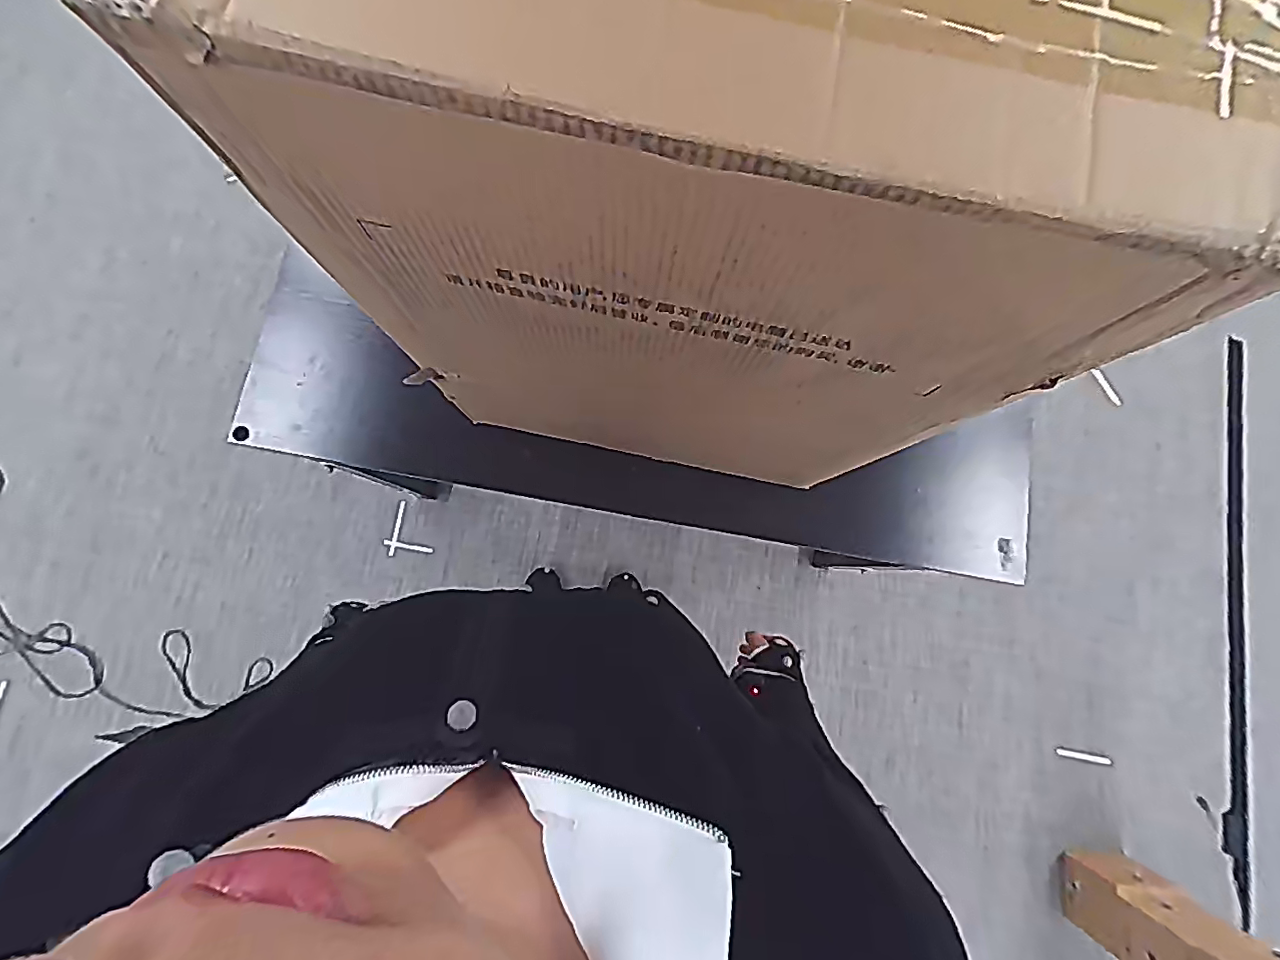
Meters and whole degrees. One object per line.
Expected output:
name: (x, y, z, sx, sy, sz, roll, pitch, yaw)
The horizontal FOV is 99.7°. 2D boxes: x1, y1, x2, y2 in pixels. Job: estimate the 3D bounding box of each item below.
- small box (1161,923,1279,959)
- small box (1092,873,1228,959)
small box: (1.246, 1.071, 1.131, 0.179, 0.176, 0.168, 3, 81, -2)
small box: (1.242, 1.079, 1.296, 0.179, 0.176, 0.168, 4, 80, -1)
